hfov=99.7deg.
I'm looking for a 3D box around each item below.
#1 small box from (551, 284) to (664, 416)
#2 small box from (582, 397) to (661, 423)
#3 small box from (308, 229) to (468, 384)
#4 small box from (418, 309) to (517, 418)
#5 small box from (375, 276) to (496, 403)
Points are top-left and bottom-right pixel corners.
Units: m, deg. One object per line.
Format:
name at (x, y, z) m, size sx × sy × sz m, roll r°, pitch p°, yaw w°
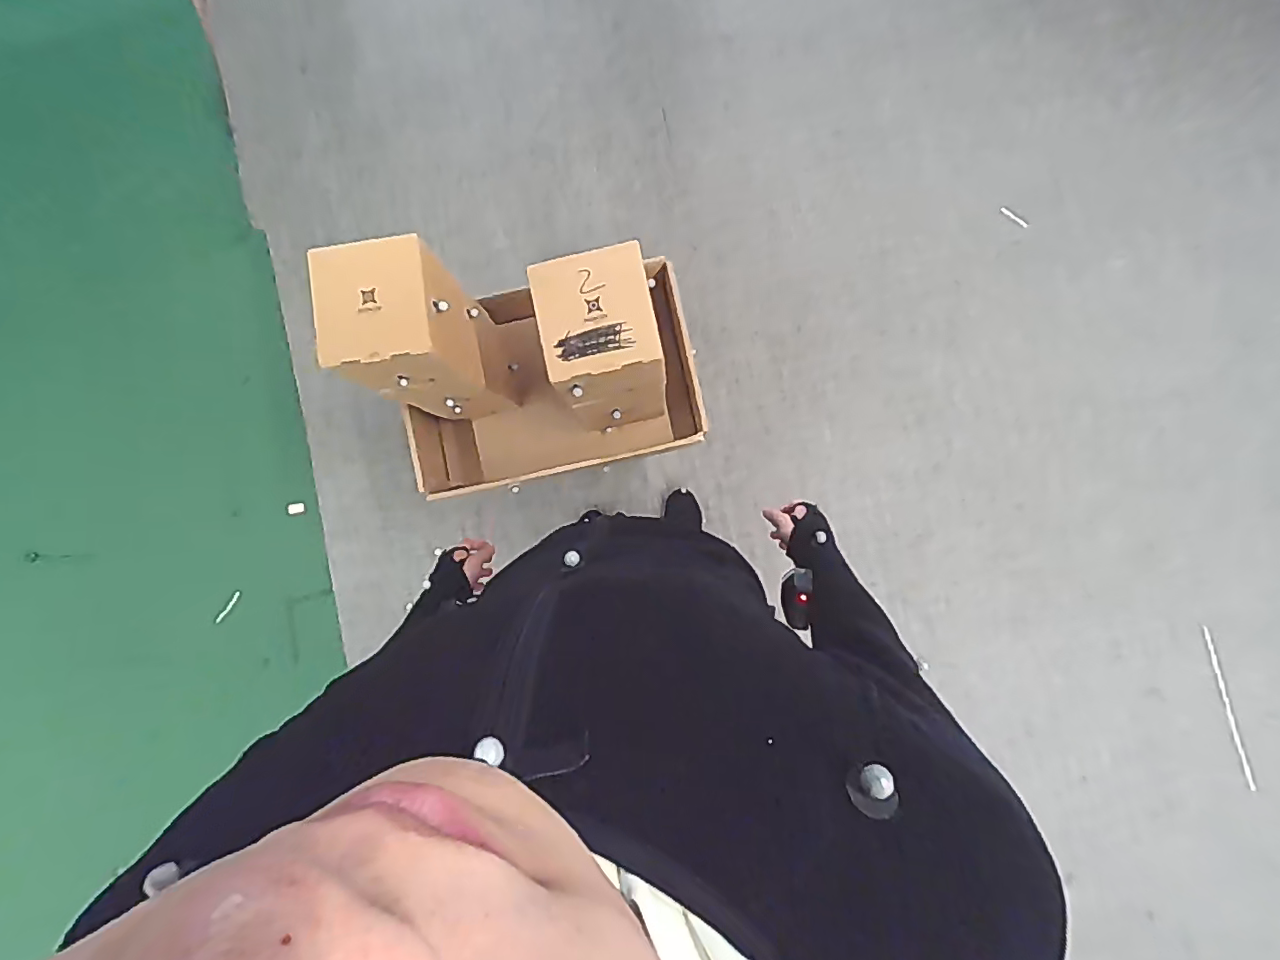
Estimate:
small box at (-0.055, -0.230, 0.998) m, size 0.168 × 0.176 × 0.179 m, roll -13°, pitch 88°, yaw 2°
small box at (-0.049, -0.226, 1.161) m, size 0.168 × 0.176 × 0.179 m, roll -13°, pitch 87°, yaw 1°
small box at (-0.384, -0.261, 0.849) m, size 0.168 × 0.176 × 0.179 m, roll -7°, pitch 88°, yaw 1°
small box at (-0.378, -0.245, 1.174) m, size 0.168 × 0.176 × 0.179 m, roll -10°, pitch 87°, yaw 1°
small box at (-0.381, -0.254, 1.010) m, size 0.168 × 0.176 × 0.179 m, roll -9°, pitch 88°, yaw 2°
